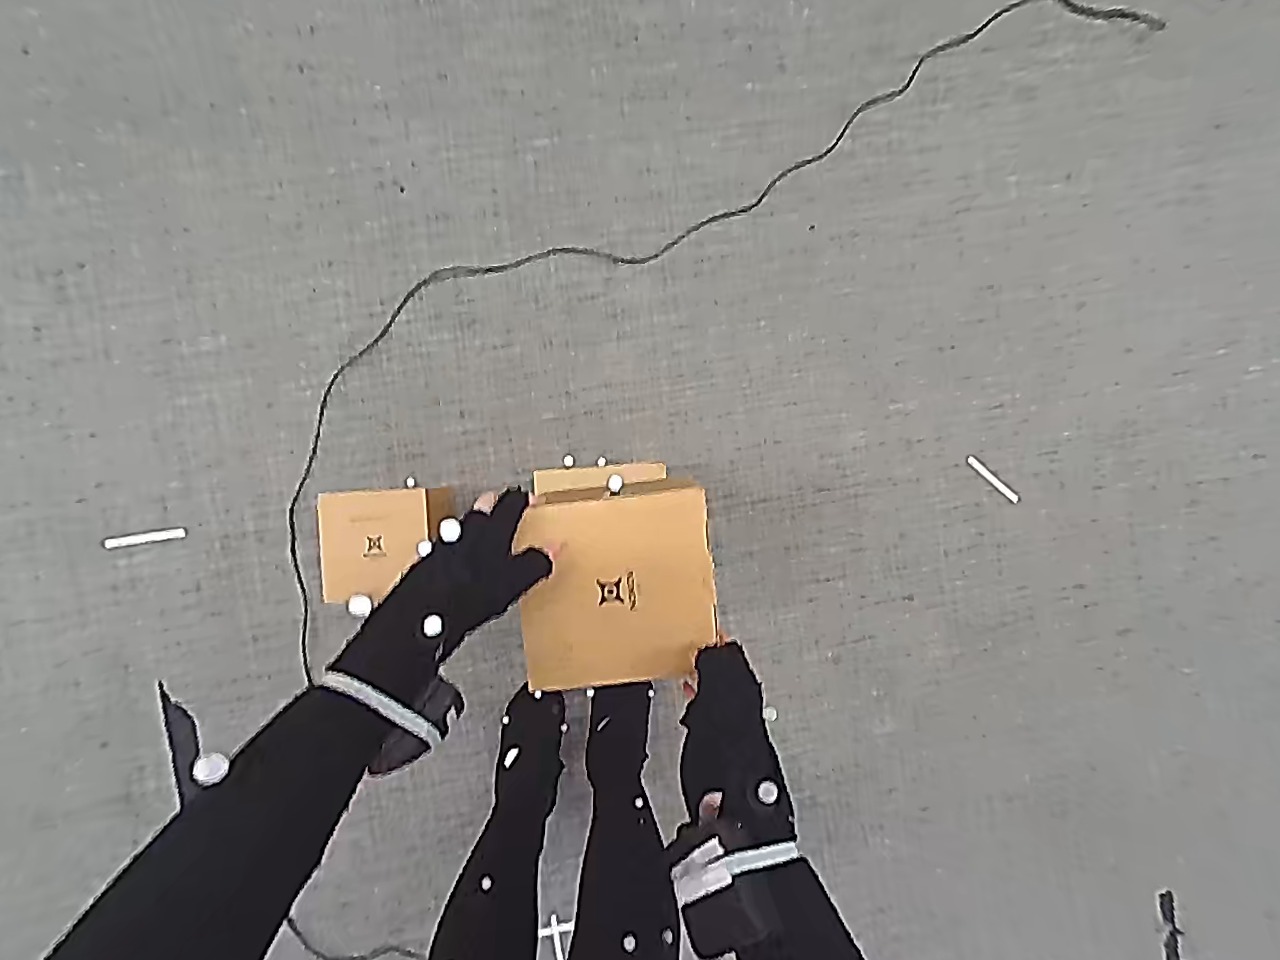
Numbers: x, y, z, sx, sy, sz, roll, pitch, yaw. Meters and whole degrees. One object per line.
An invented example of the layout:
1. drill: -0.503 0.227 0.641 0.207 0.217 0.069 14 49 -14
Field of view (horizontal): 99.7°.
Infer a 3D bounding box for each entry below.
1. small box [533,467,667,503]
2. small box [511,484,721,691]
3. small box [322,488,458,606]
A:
1. small box: -0.052 0.069 0.782 0.179 0.176 0.168 -4 91 -5
2. small box: -0.020 0.096 0.556 0.179 0.176 0.168 -6 94 0
3. small box: -0.415 0.106 0.923 0.168 0.176 0.179 -2 91 -5
